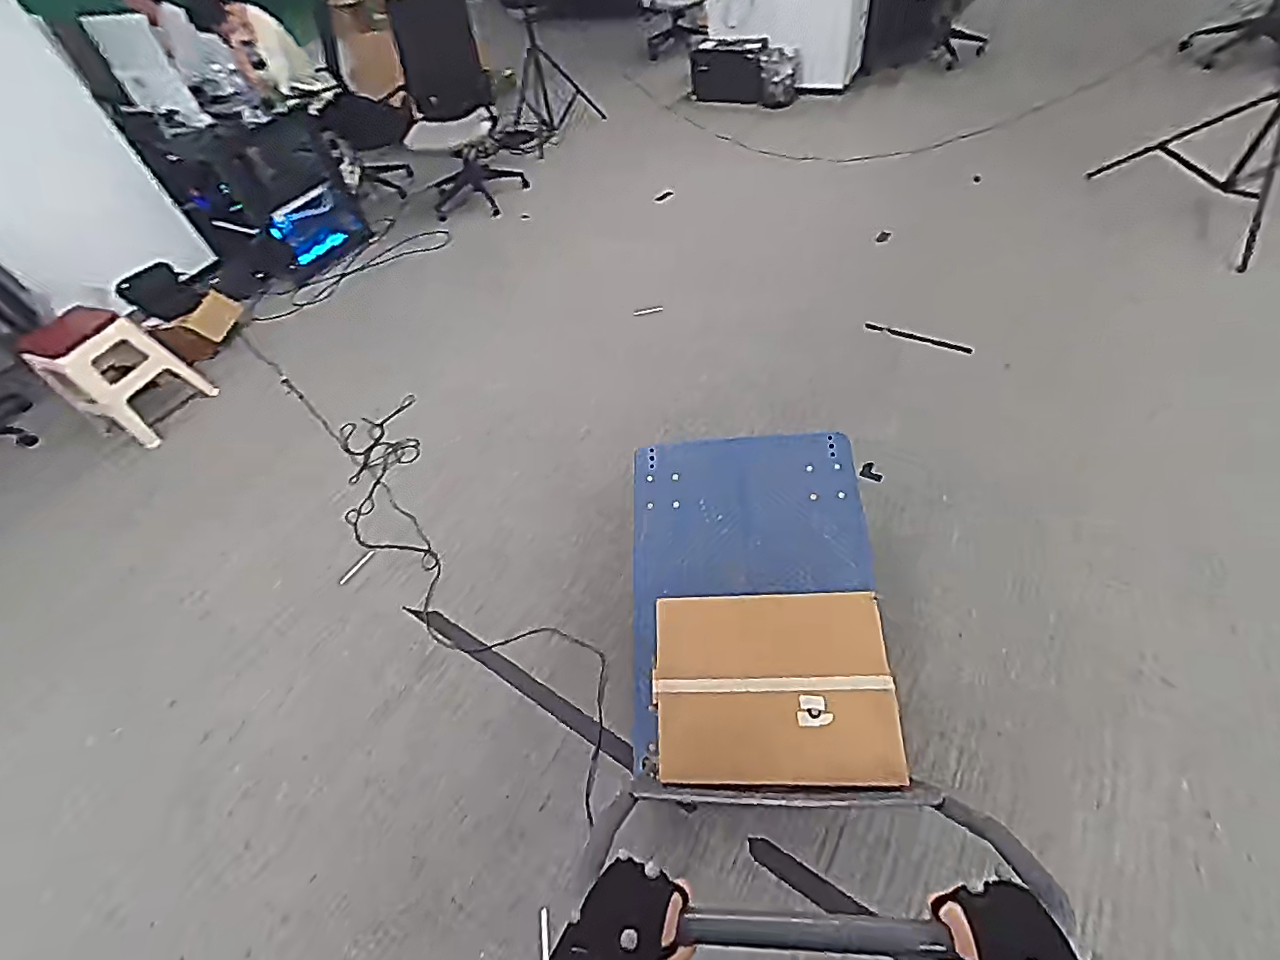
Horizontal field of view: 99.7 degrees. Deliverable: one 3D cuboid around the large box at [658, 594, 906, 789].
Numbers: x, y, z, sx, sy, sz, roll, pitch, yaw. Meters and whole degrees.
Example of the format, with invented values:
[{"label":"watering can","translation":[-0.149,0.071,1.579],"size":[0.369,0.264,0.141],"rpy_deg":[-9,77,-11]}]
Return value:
[{"label":"large box","translation":[0.255,0.428,1.097],"size":[0.408,0.320,0.320],"rpy_deg":[-4,66,7]}]
